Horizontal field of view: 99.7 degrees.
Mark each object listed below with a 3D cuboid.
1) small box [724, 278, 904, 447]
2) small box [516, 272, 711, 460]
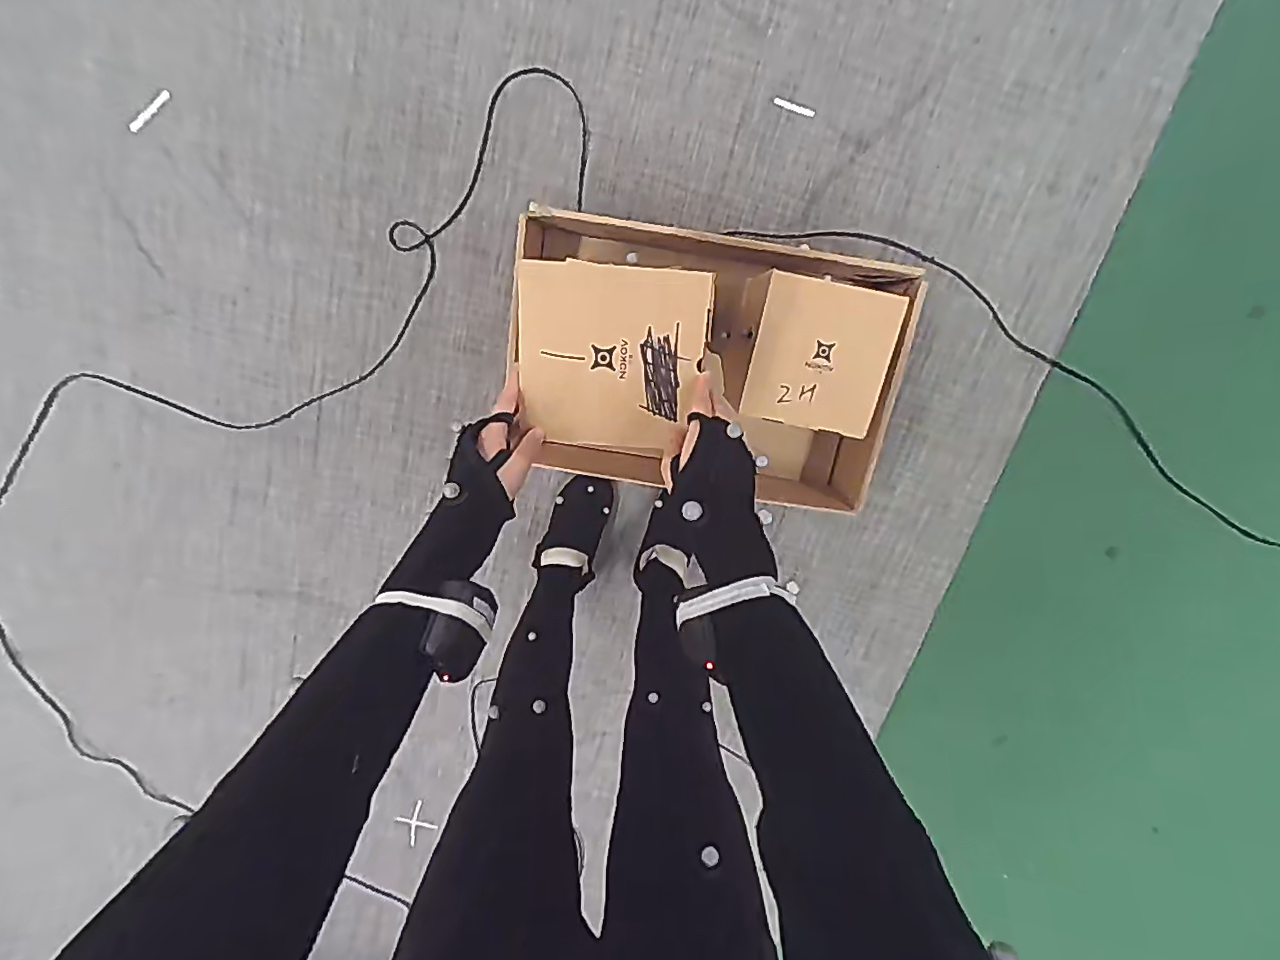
[{"bbox_3d":[0.217,-0.161,0.729,0.168,0.176,0.179,12,107,-1],"label":"small box"},{"bbox_3d":[-0.029,-0.127,0.580,0.179,0.176,0.168,4,108,-1],"label":"small box"}]
